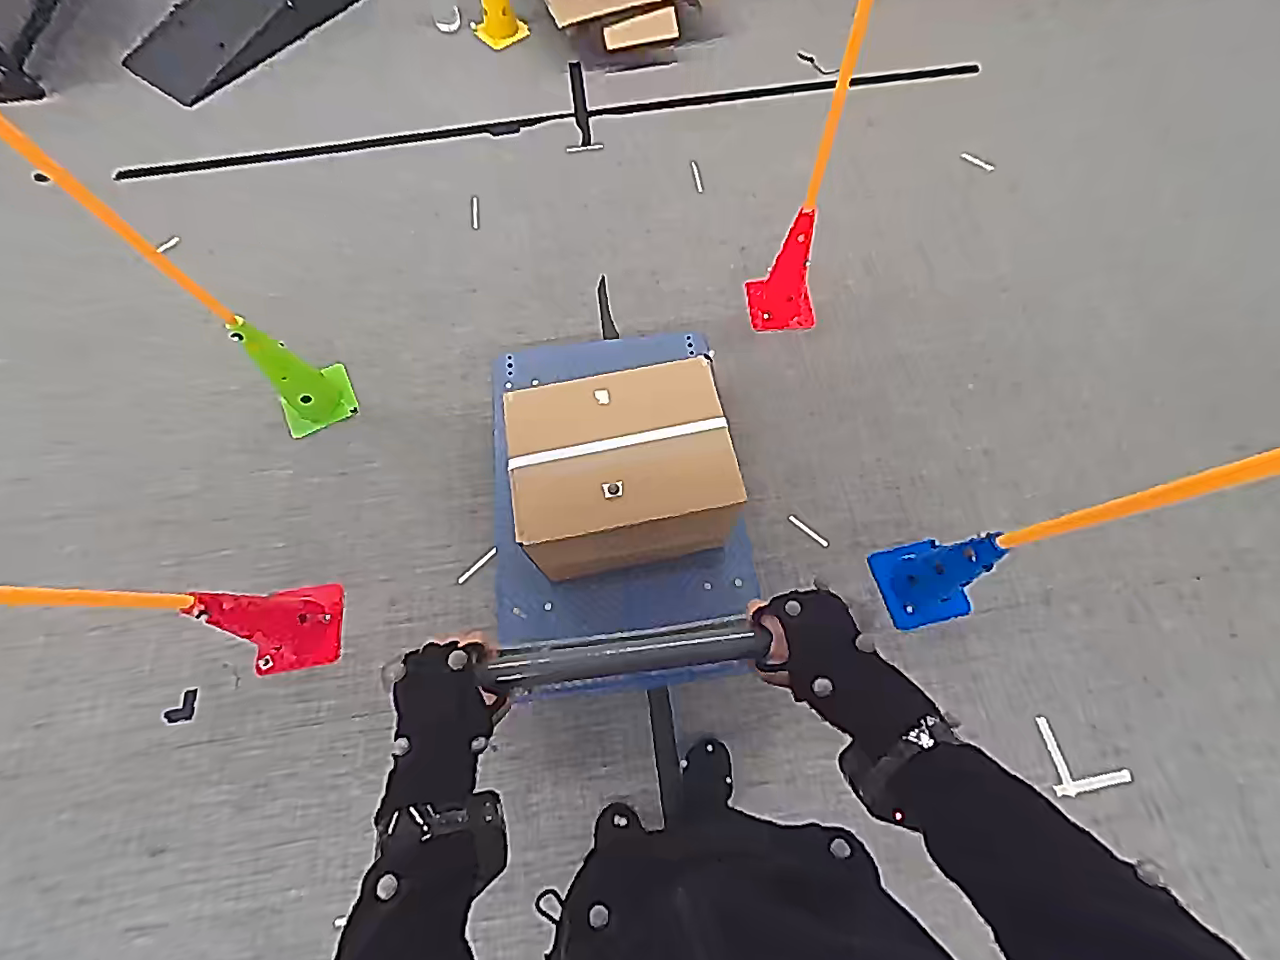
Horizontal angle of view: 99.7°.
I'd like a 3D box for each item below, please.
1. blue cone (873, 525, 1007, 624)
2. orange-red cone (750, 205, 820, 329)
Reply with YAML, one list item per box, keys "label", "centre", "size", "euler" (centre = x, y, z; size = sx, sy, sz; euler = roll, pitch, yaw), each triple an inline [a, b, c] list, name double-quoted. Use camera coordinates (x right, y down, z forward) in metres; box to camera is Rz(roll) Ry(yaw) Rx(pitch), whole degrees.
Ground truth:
- label: "blue cone"
  centre: [0.698, 0.188, 1.205]
  size: [0.193, 0.380, 0.192]
  euler: [-11, 66, -4]
- label: "orange-red cone"
  centre: [0.447, -0.621, 1.540]
  size: [0.199, 0.360, 0.198]
  euler: [-1, 68, 0]
